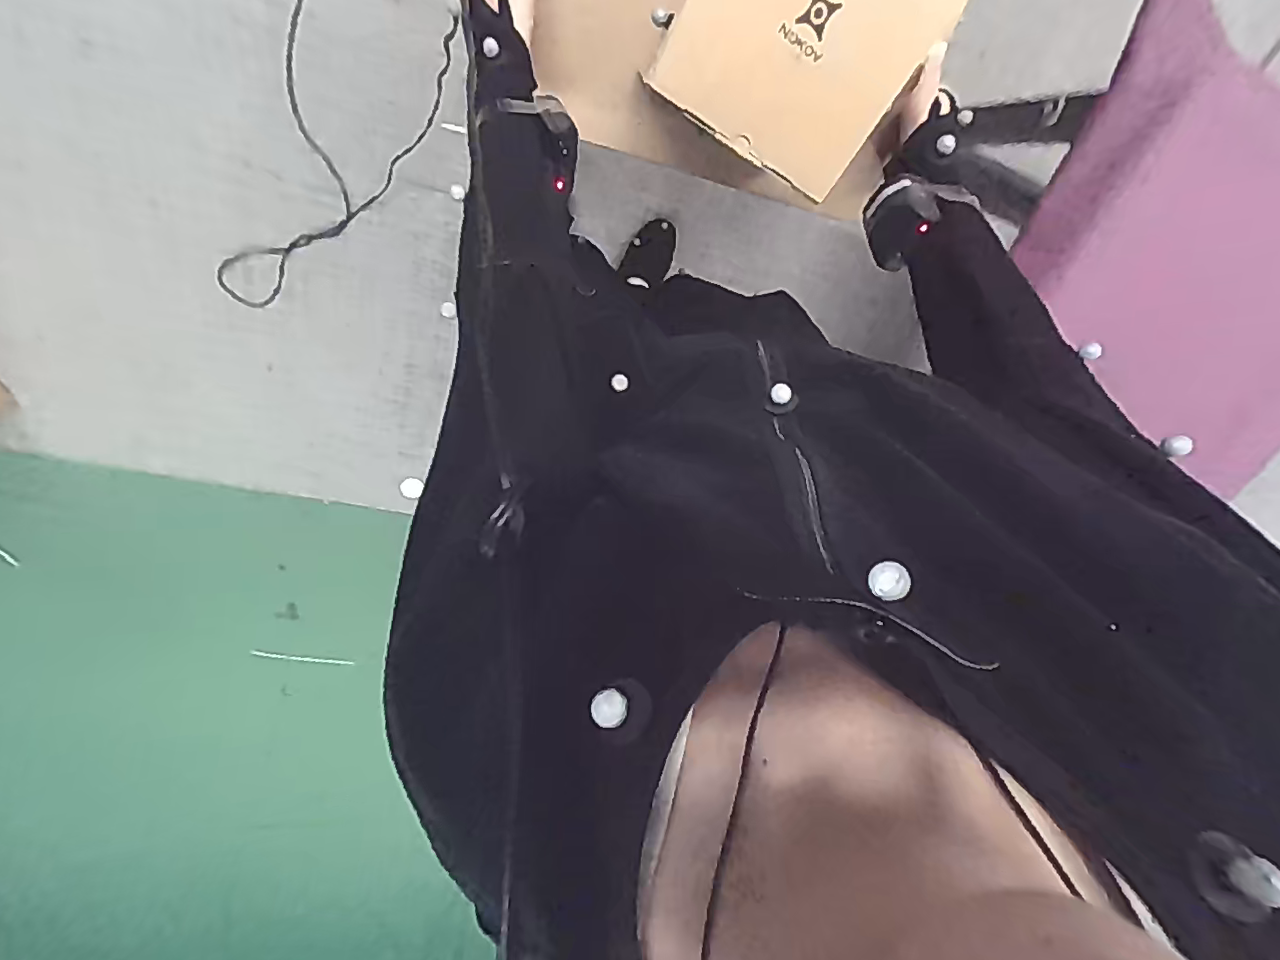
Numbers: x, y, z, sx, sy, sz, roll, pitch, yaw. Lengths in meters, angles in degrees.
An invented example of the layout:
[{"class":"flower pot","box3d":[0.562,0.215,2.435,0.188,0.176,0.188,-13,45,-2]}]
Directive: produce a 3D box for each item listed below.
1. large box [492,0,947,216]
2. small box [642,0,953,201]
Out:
[{"class":"large box","box3d":[0.079,-0.534,0.592,0.408,0.320,0.320,10,128,-10]},{"class":"small box","box3d":[0.107,-0.361,0.419,0.168,0.176,0.179,21,128,-19]}]
